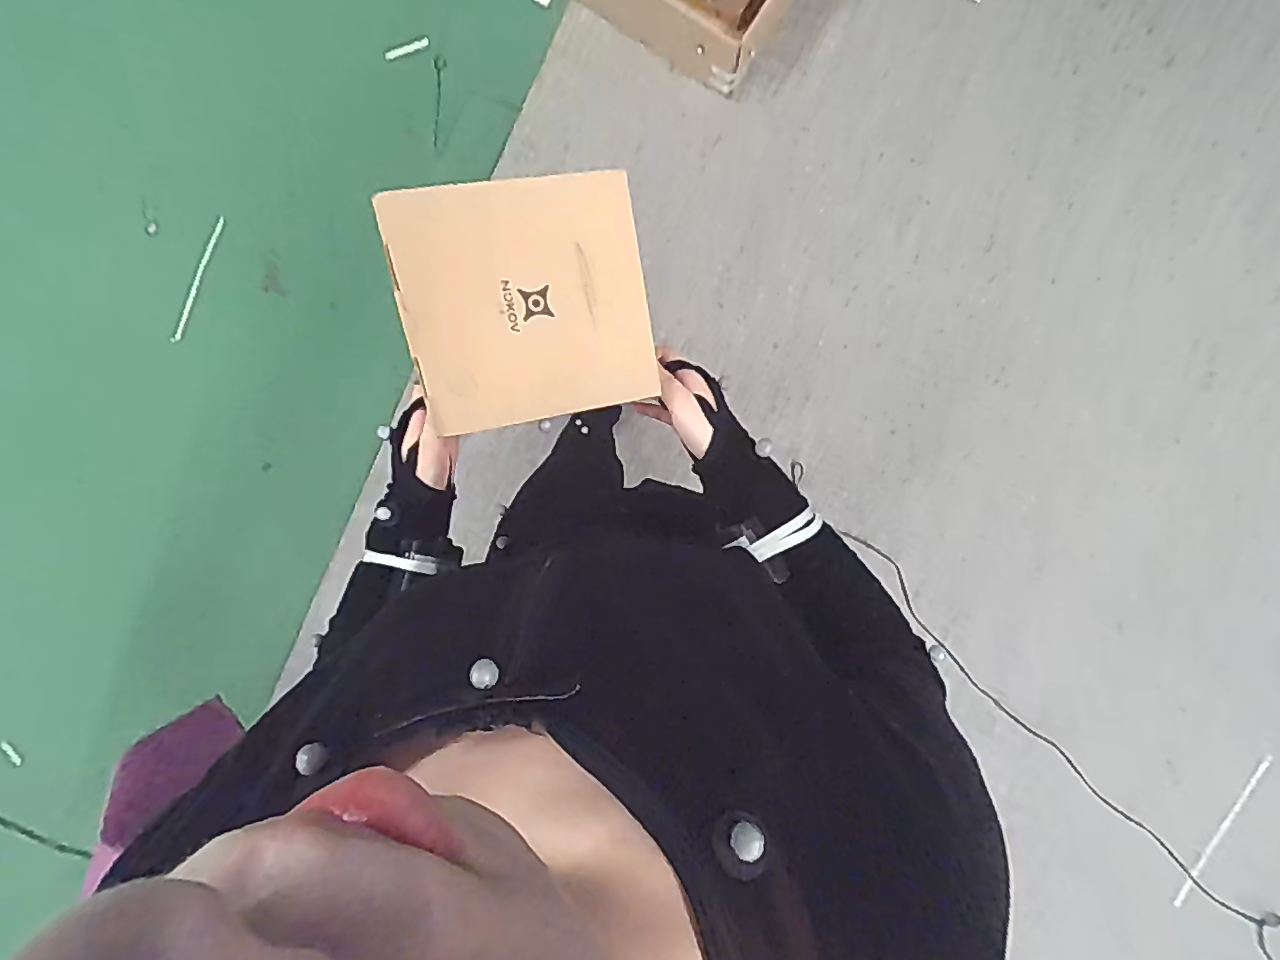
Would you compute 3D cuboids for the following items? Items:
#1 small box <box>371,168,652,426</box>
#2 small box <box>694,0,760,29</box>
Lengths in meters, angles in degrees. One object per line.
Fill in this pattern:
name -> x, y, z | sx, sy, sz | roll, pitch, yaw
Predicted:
small box -> -0.104, -0.146, 0.467 | 0.179, 0.176, 0.168 | -12, 105, -13
small box -> 0.216, -1.190, 1.225 | 0.168, 0.176, 0.179 | 30, 97, 1
